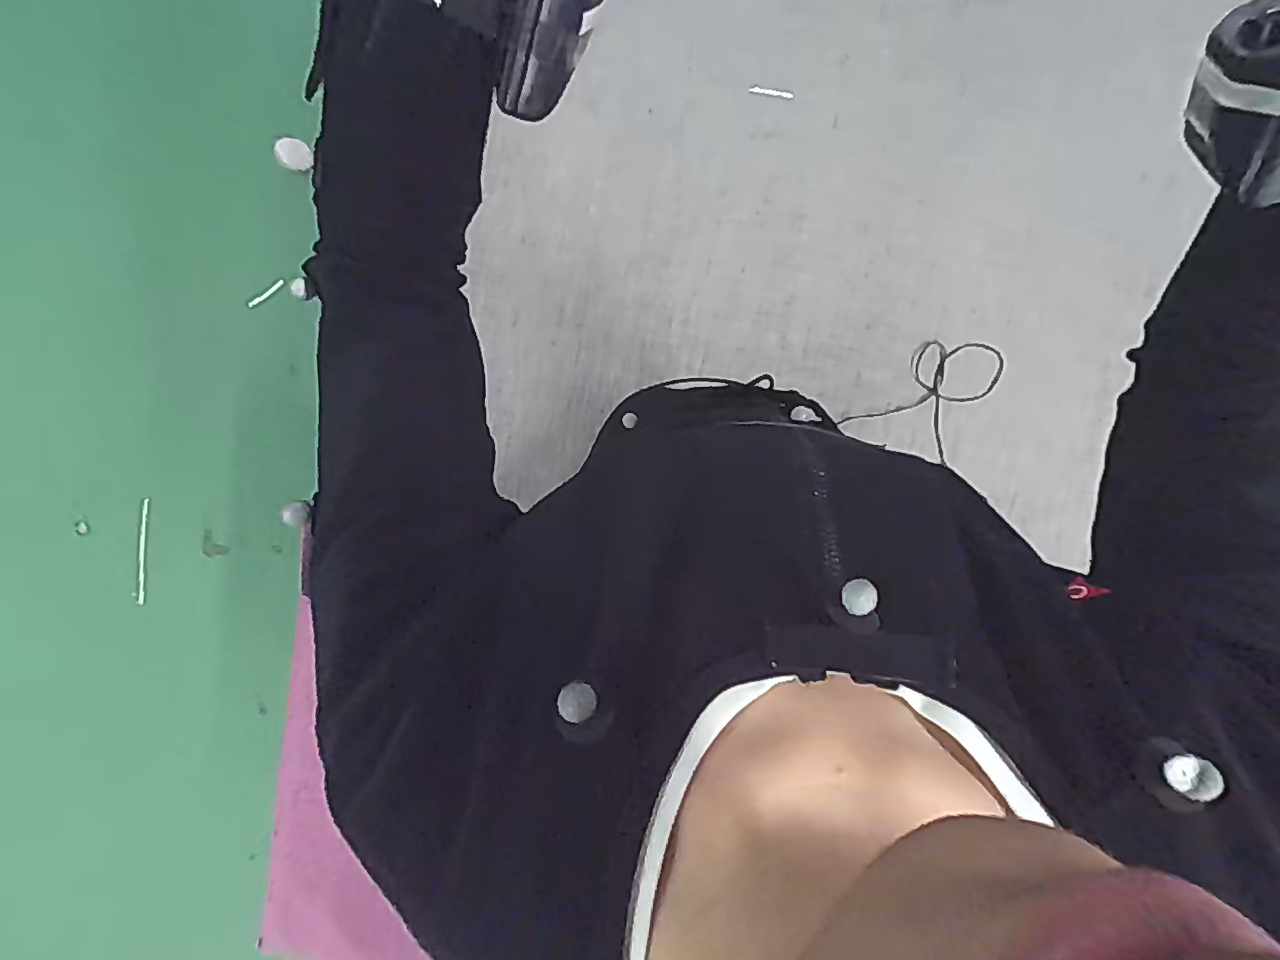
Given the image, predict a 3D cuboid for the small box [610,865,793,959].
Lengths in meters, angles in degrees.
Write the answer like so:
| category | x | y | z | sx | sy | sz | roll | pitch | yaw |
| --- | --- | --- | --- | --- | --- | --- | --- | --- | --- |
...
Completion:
| category | x | y | z | sx | sy | sz | roll | pitch | yaw |
| --- | --- | --- | --- | --- | --- | --- | --- | --- | --- |
| small box | 0.062 | 0.552 | 0.568 | 0.179 | 0.176 | 0.168 | 13 | 98 | 0 |
